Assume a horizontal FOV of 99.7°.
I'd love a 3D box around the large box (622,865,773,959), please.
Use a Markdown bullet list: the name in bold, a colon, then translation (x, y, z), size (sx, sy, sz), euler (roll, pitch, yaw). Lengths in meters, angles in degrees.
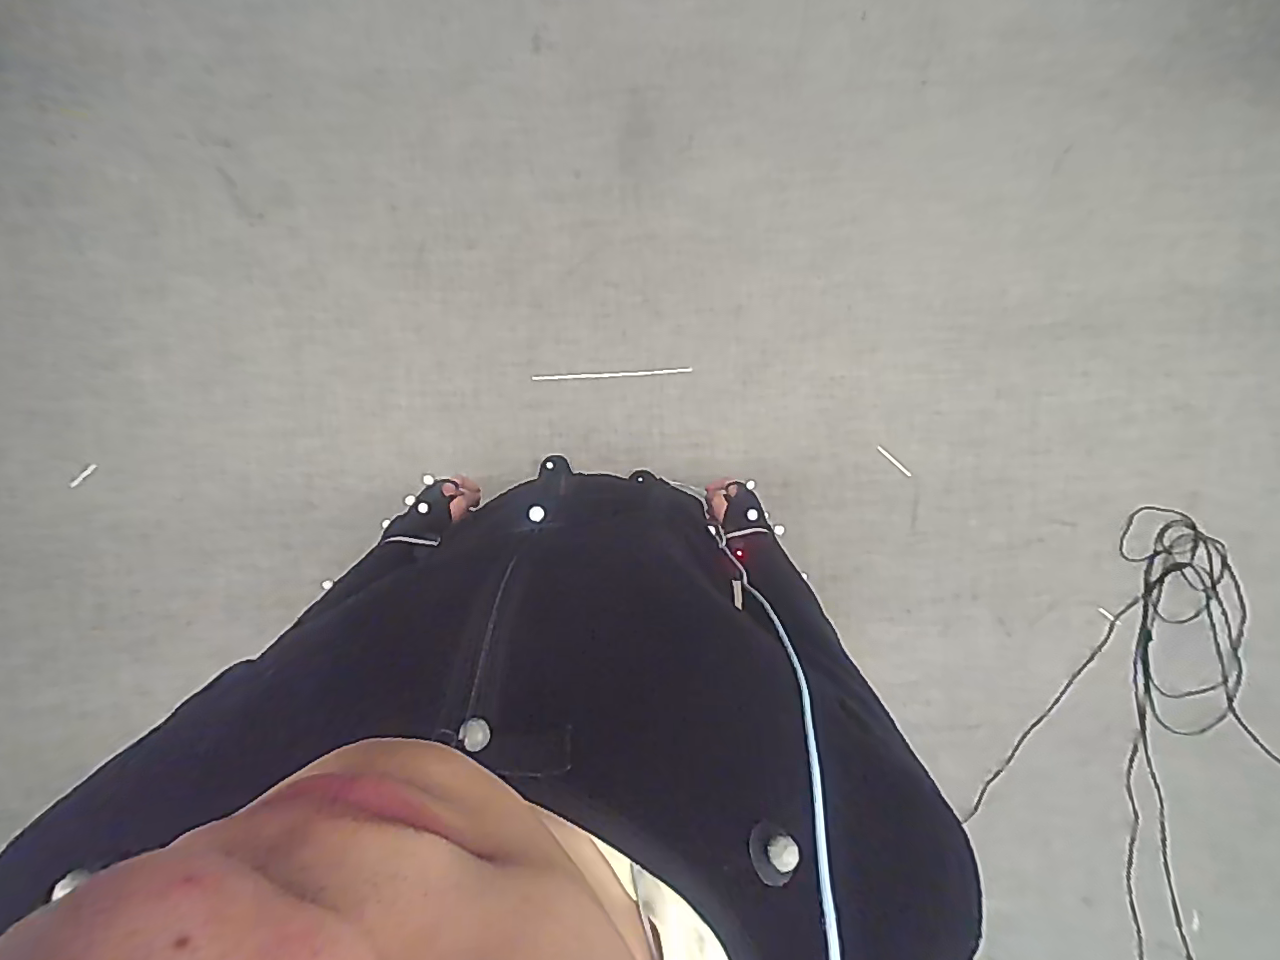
- **large box**: translation (0.162, 1.391, 1.564), size (0.408, 0.320, 0.320), euler (-5, 92, -1)
